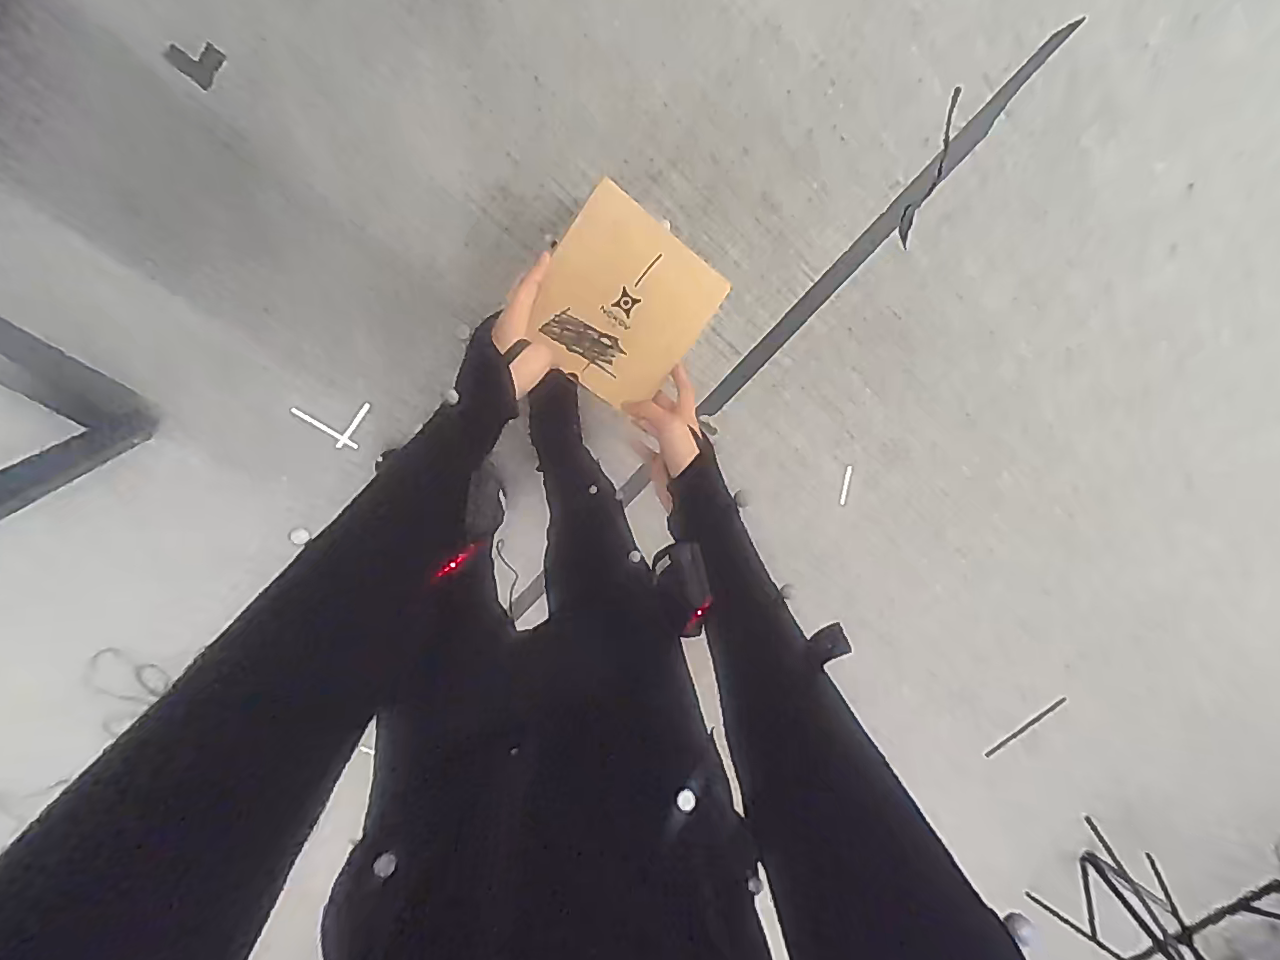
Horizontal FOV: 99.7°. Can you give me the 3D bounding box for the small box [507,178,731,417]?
[{"bbox_3d":[-0.029,-0.207,0.617,0.168,0.176,0.179,32,107,-21],"label":"small box"}]
